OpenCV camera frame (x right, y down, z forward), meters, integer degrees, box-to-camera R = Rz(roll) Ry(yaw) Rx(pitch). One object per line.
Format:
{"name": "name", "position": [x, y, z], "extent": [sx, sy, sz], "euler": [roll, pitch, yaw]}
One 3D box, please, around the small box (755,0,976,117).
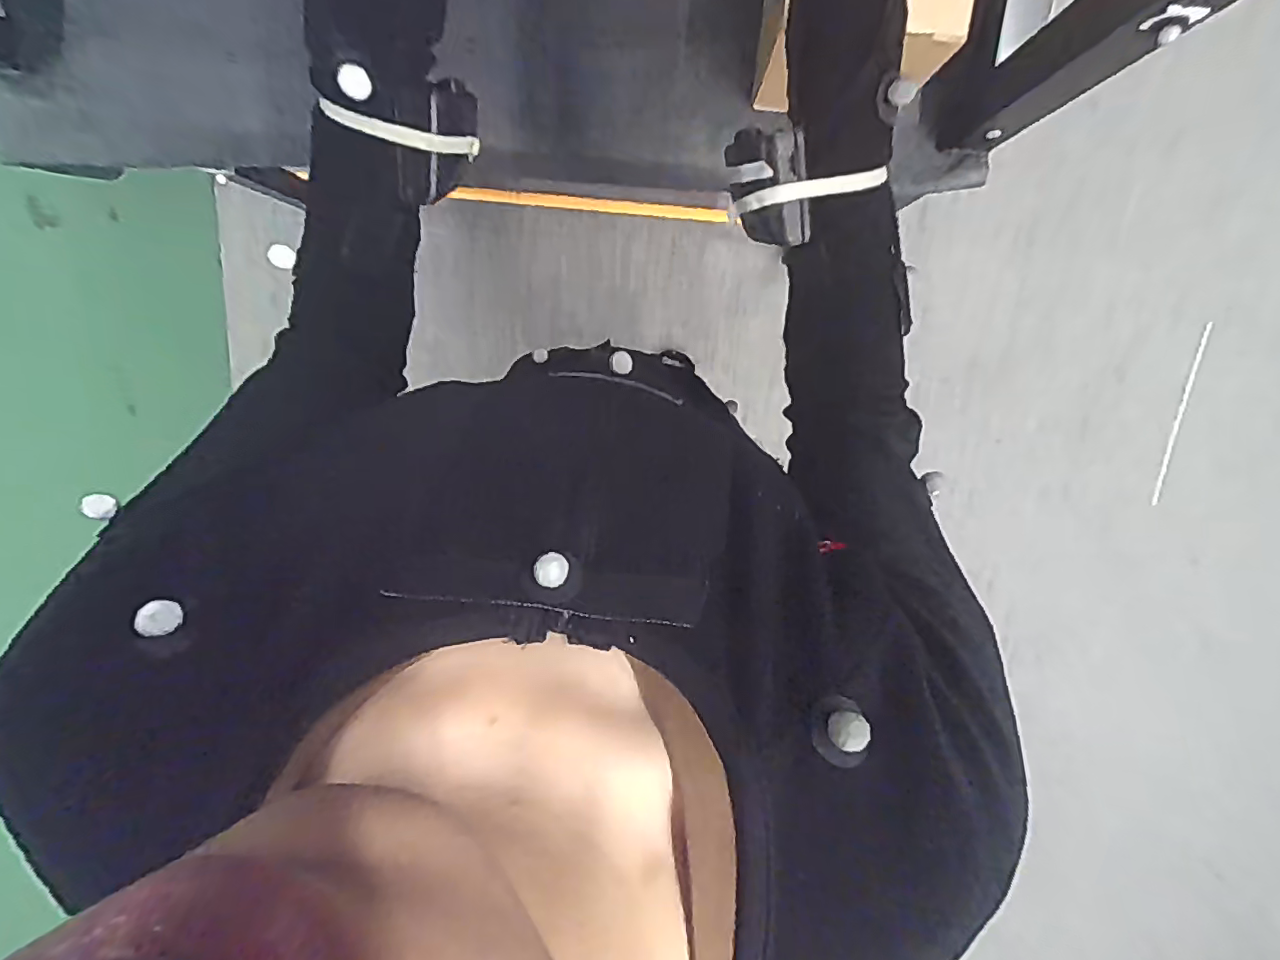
{"name": "small box", "position": [0.216, -0.497, 0.532], "extent": [0.168, 0.176, 0.179], "euler": [5, 103, 1]}
